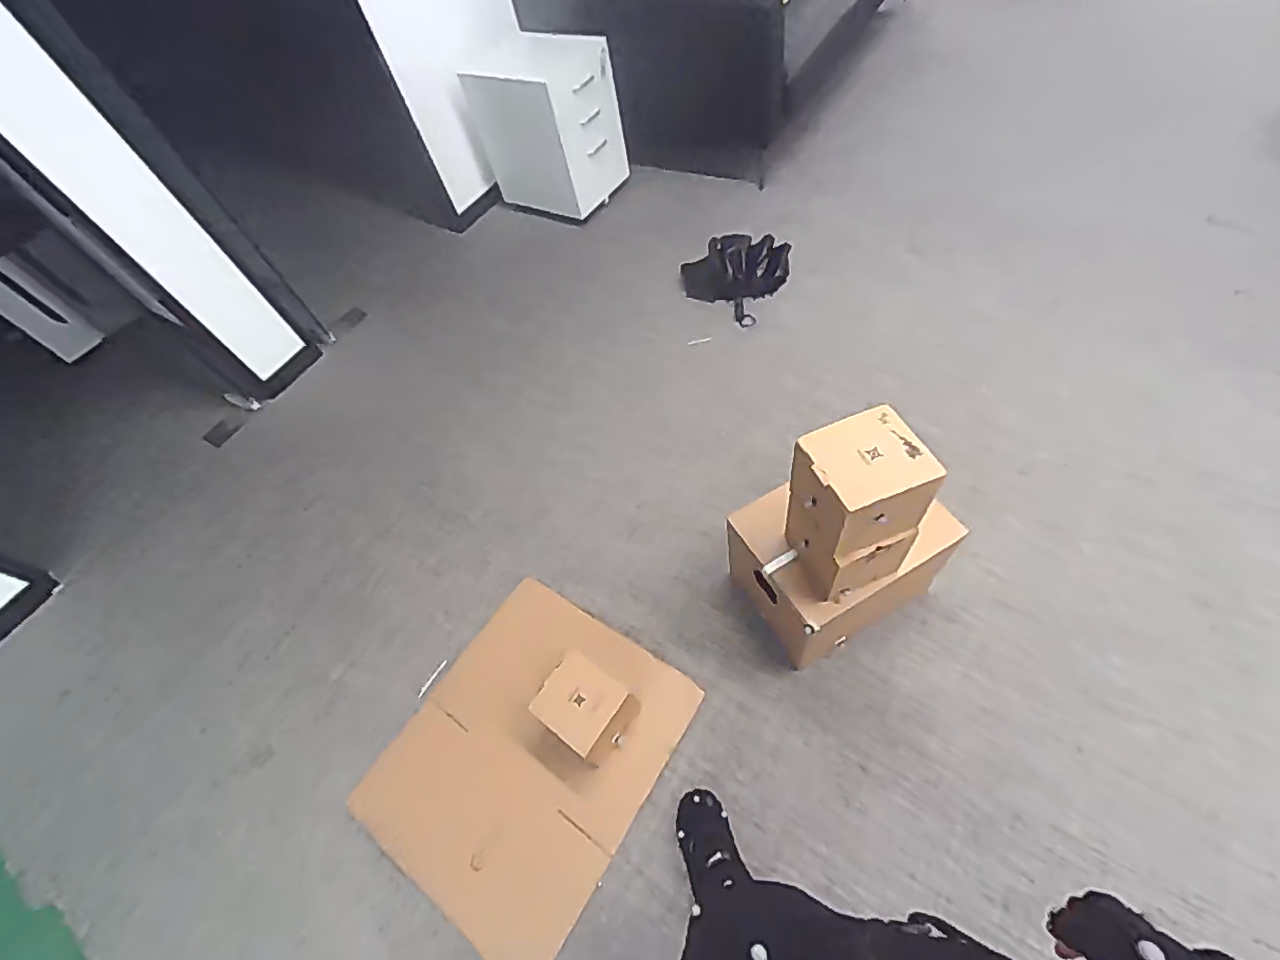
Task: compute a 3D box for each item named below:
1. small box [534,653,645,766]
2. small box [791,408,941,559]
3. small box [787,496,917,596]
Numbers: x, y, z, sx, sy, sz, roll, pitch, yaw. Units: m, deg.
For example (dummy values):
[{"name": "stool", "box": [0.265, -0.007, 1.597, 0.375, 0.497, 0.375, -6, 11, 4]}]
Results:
[{"name": "small box", "box": [-0.110, 0.538, 1.257, 0.179, 0.176, 0.168, 27, 66, 26]}, {"name": "small box", "box": [0.384, 0.011, 0.954, 0.179, 0.176, 0.168, -23, 53, -6]}, {"name": "small box", "box": [0.410, 0.112, 1.077, 0.168, 0.176, 0.179, -23, 54, -4]}]
